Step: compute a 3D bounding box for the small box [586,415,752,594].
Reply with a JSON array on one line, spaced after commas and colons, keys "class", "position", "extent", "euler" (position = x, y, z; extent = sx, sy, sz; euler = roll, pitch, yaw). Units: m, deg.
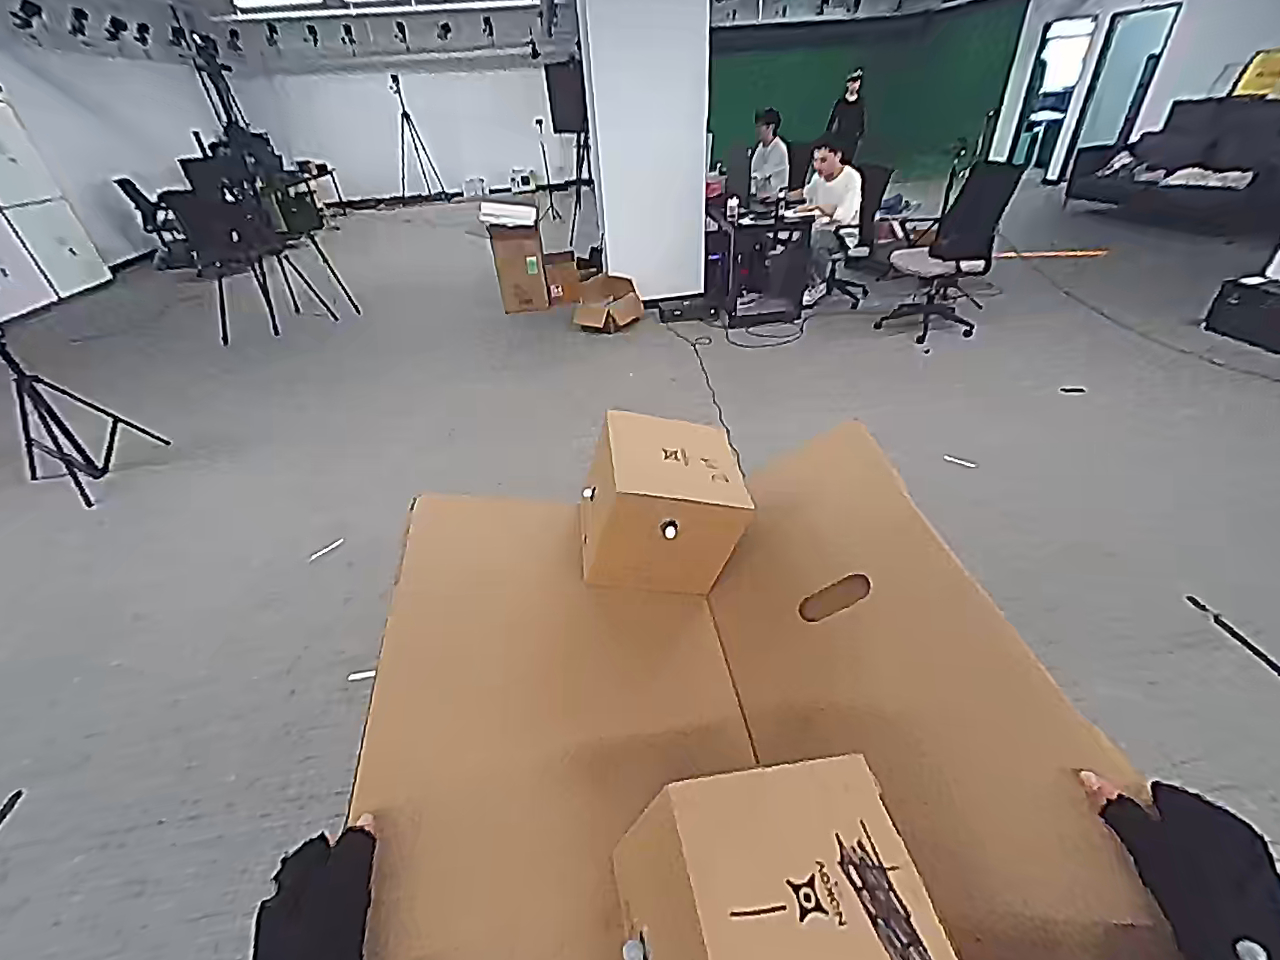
[{"class": "small box", "position": [0.024, 0.038, 0.735], "extent": [0.179, 0.176, 0.168], "euler": [9, 40, -15]}]
